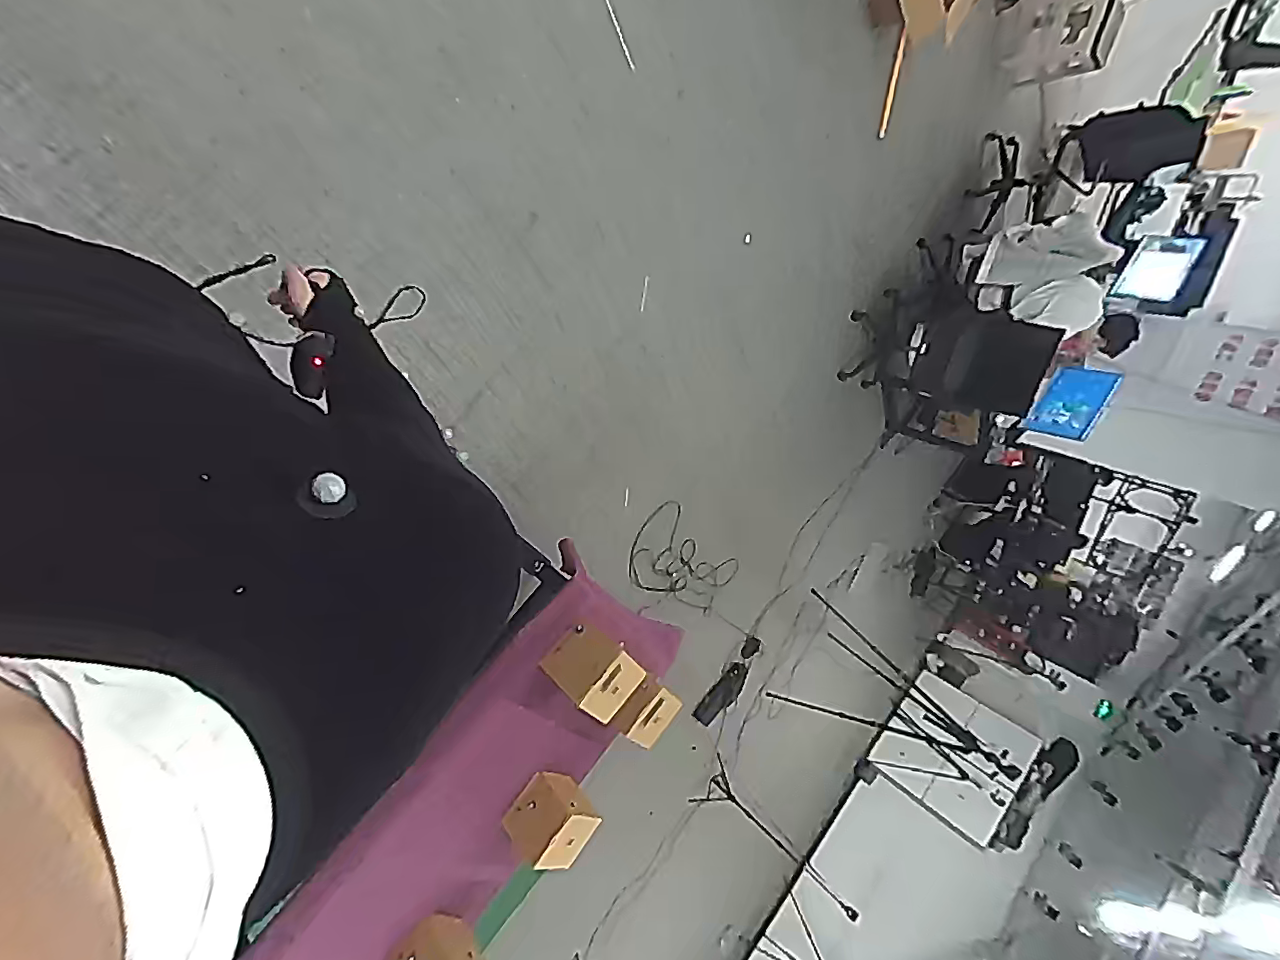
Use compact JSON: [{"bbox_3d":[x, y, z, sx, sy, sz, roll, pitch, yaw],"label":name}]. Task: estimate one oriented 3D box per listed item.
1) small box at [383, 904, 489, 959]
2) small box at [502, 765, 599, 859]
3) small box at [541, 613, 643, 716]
[{"bbox_3d":[-0.545,1.286,1.449,0.168,0.176,0.179,-46,138,-19],"label":"small box"},{"bbox_3d":[-0.259,0.953,1.560,0.168,0.176,0.179,-52,139,-10],"label":"small box"},{"bbox_3d":[-0.128,0.475,1.409,0.168,0.176,0.179,-47,140,-15],"label":"small box"}]
